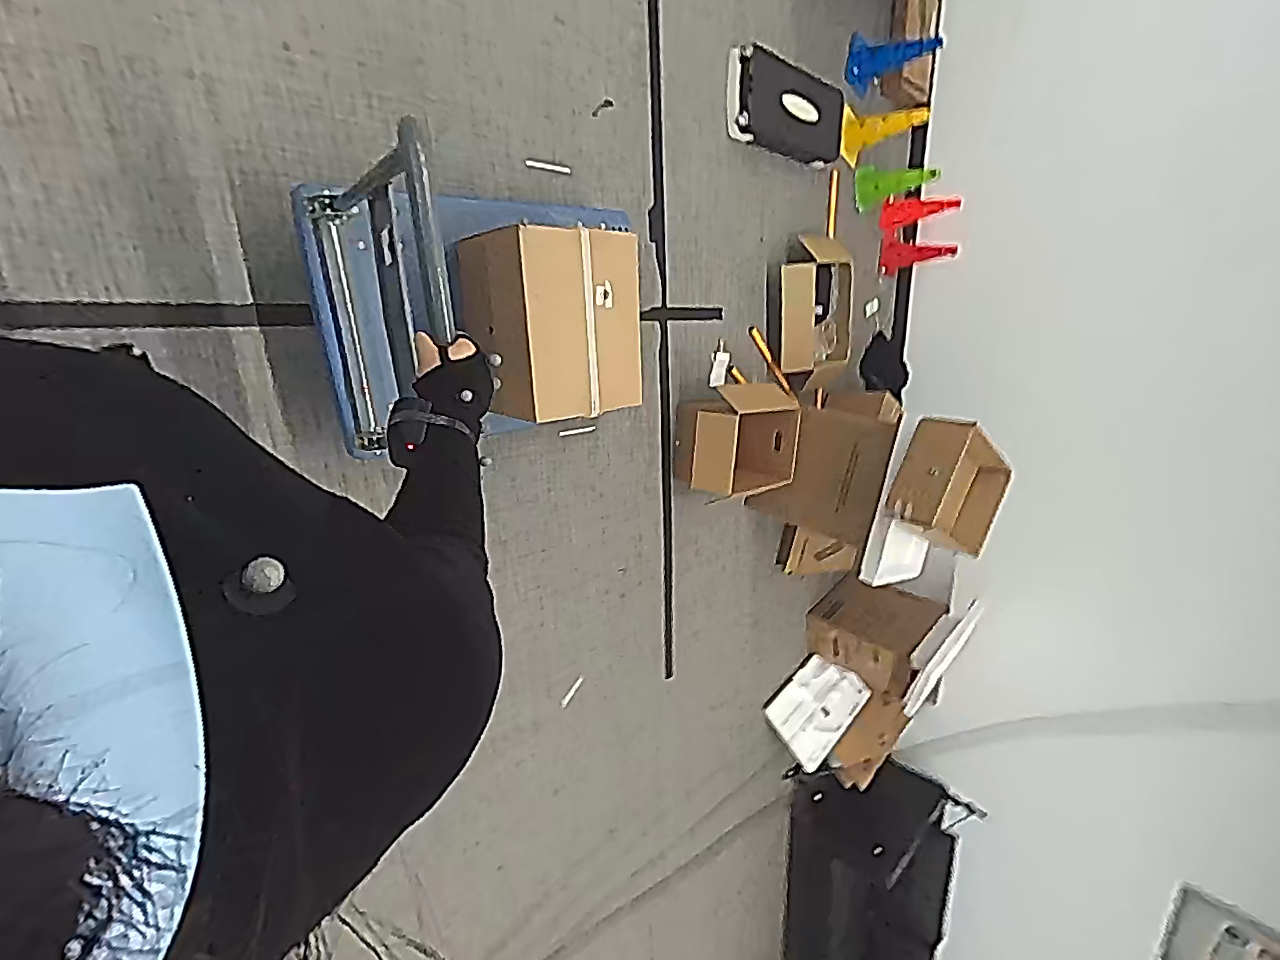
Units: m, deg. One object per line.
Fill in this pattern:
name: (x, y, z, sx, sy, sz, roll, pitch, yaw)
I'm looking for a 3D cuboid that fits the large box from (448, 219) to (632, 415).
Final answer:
large box: (-0.243, -0.392, 1.331, 0.320, 0.320, 0.408, -17, 112, -40)
